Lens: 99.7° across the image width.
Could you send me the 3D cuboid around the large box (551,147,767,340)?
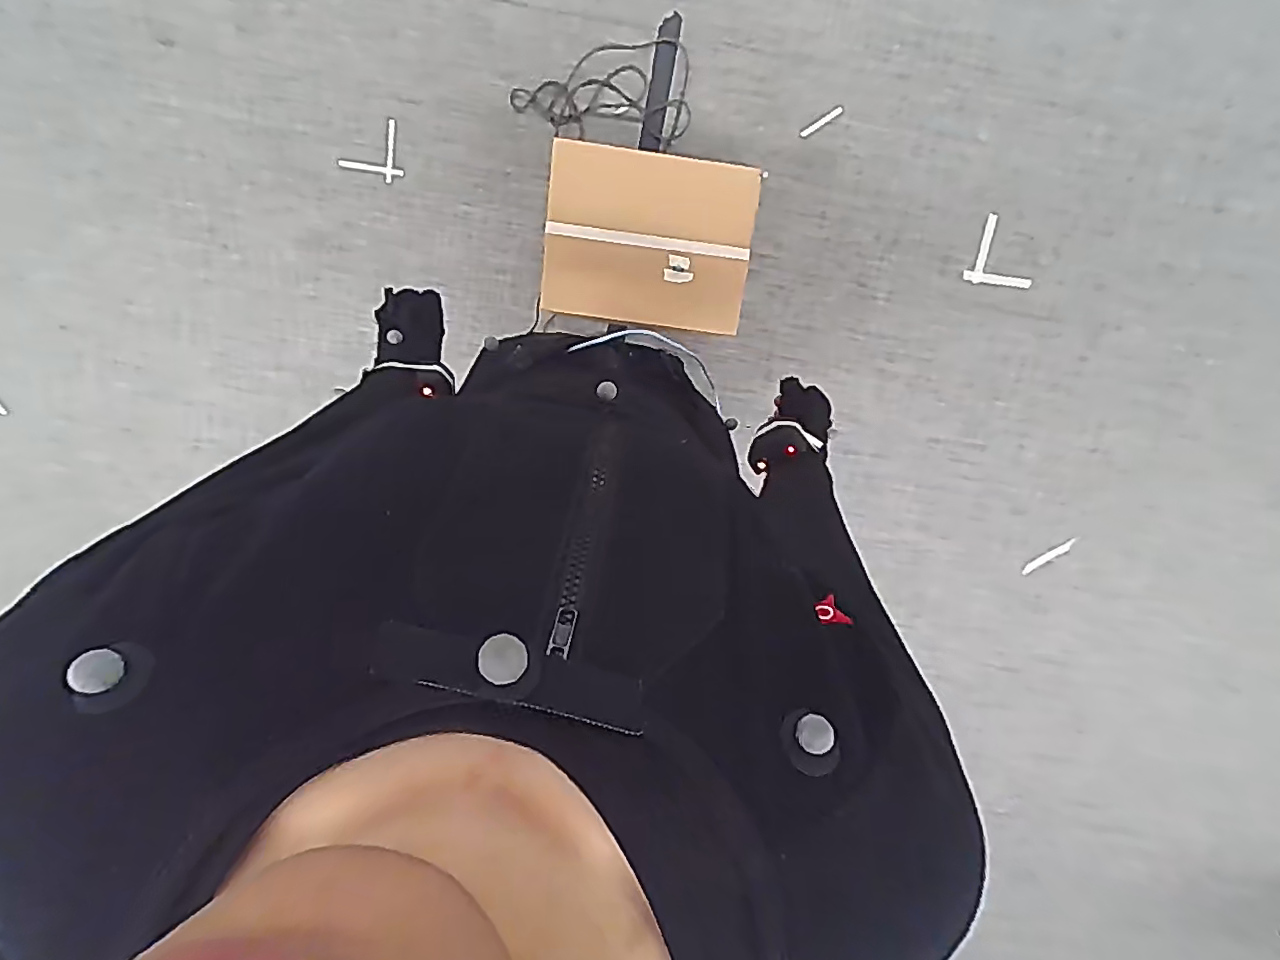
[{"bbox_3d":[0.027,-0.500,1.218,0.408,0.320,0.320,8,105,-4],"label":"large box"}]
